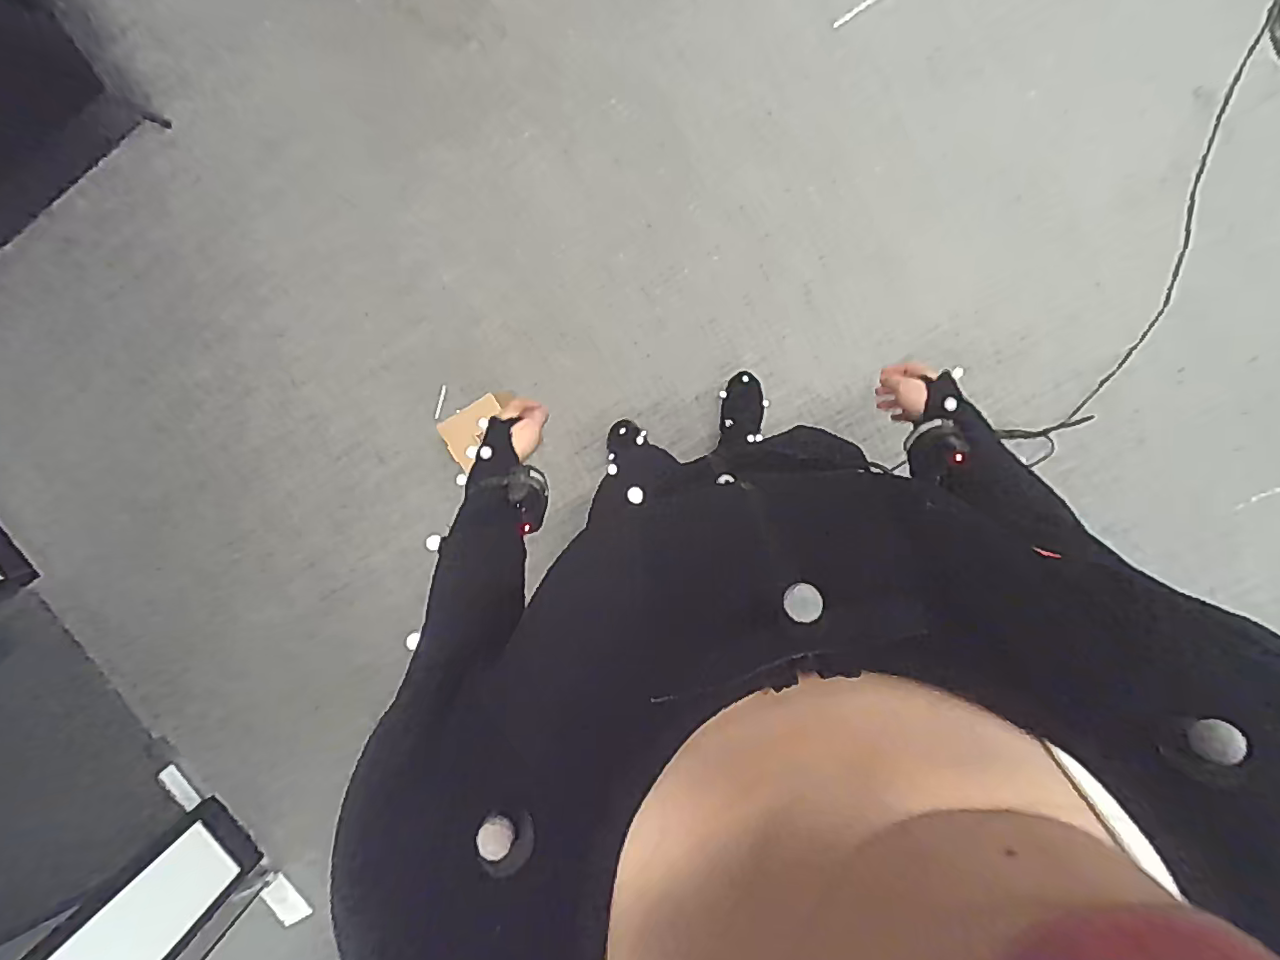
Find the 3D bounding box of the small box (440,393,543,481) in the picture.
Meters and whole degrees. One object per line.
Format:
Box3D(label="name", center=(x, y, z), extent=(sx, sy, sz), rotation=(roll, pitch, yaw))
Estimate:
Box3D(label="small box", center=(-0.386, -0.119, 1.439), extent=(0.179, 0.176, 0.168), rotation=(-30, 98, 9))
